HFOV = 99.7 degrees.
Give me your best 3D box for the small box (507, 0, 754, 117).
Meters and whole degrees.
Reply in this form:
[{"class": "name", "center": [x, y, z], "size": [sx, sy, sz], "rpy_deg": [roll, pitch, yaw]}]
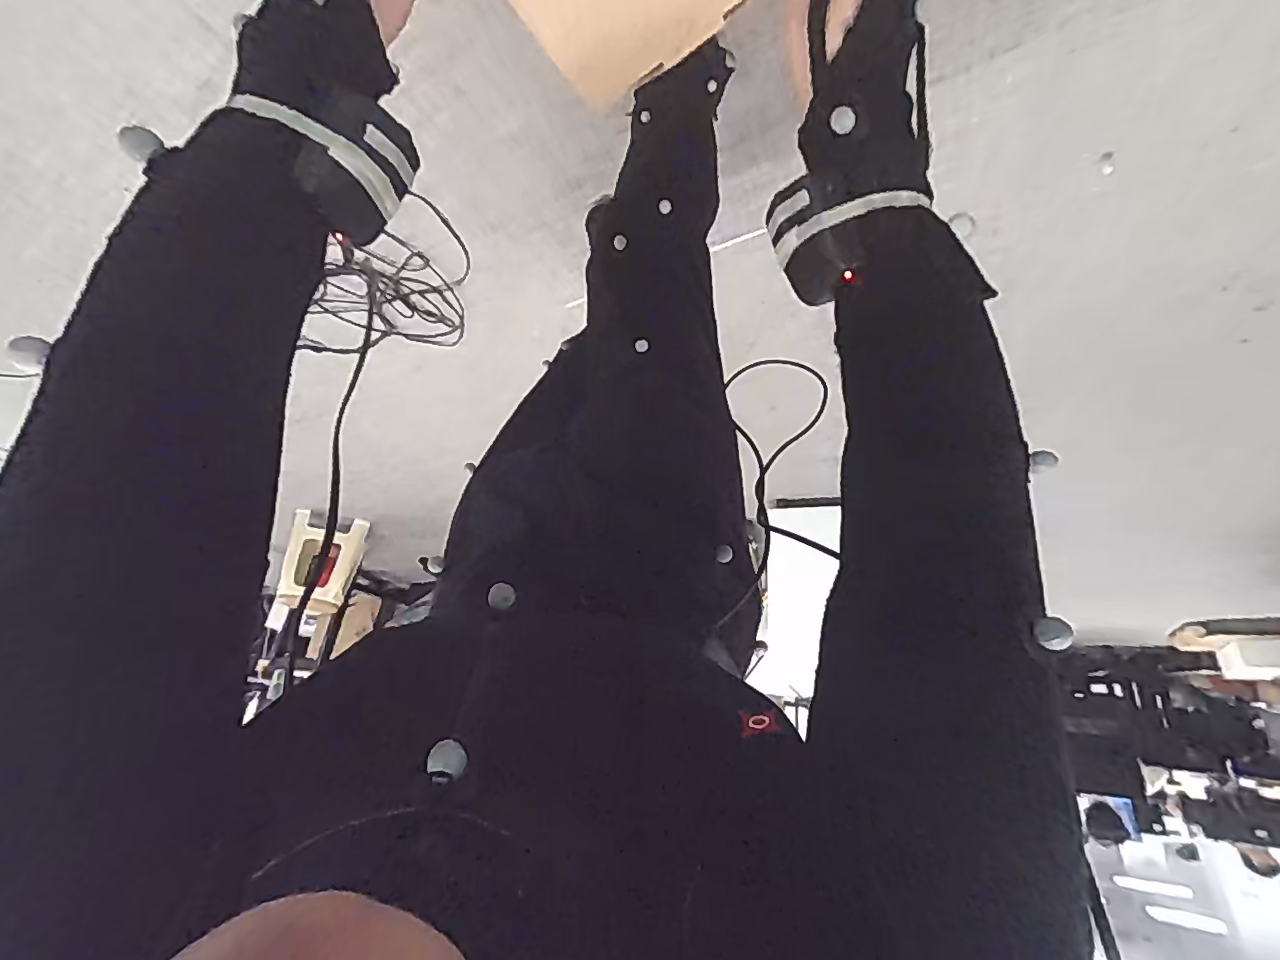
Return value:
[{"class": "small box", "center": [-0.010, -0.382, 0.320], "size": [0.168, 0.176, 0.179], "rpy_deg": [-16, 145, 33]}]
